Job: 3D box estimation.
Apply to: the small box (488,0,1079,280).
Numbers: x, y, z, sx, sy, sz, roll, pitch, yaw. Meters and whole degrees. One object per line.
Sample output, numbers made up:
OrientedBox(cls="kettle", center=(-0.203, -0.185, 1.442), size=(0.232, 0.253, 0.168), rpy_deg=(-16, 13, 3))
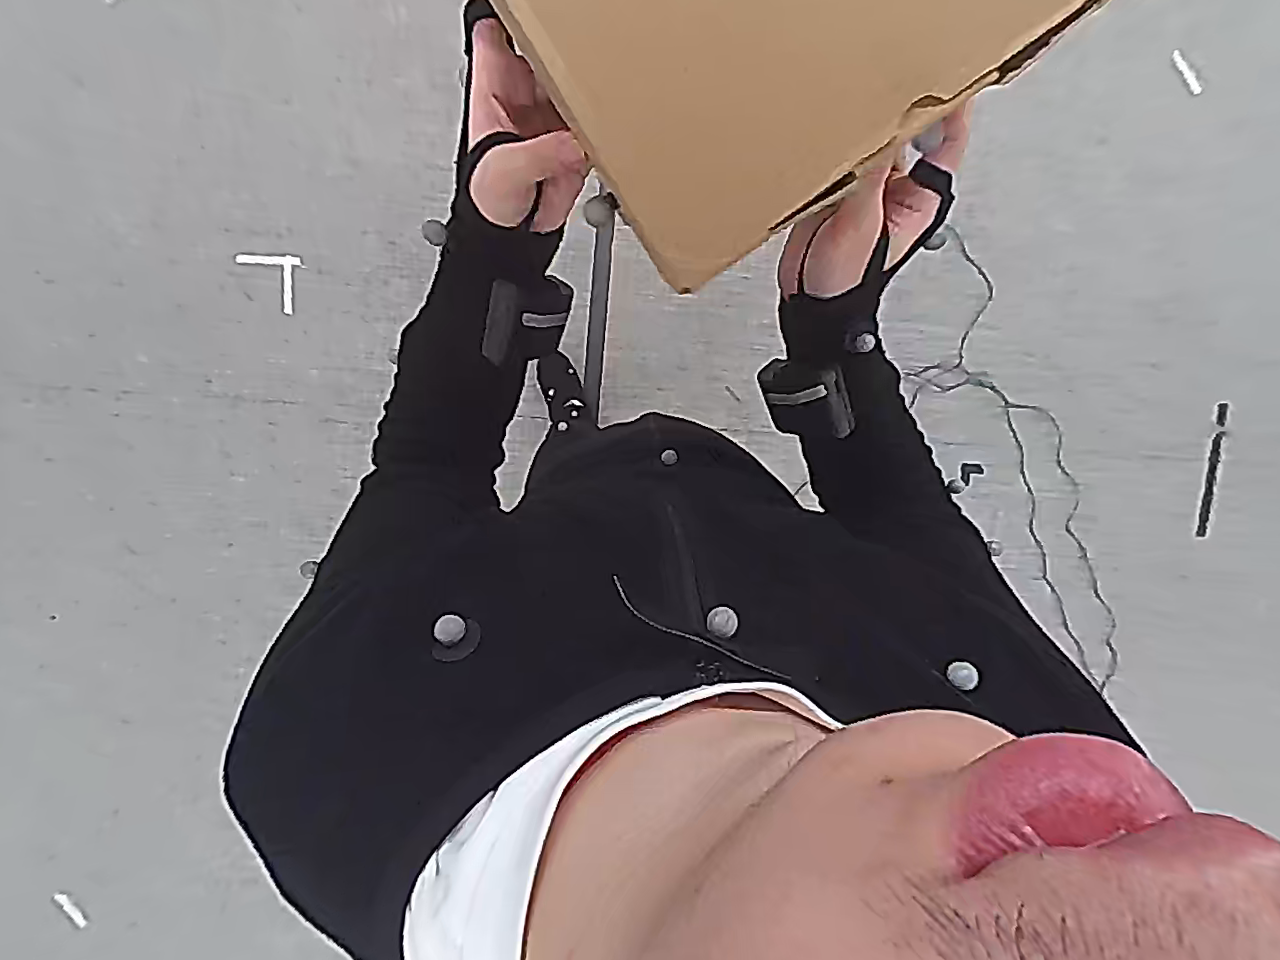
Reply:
OrientedBox(cls="small box", center=(0.031, -0.206, 0.215), size=(0.168, 0.176, 0.179), rpy_deg=(-34, 108, 12))
